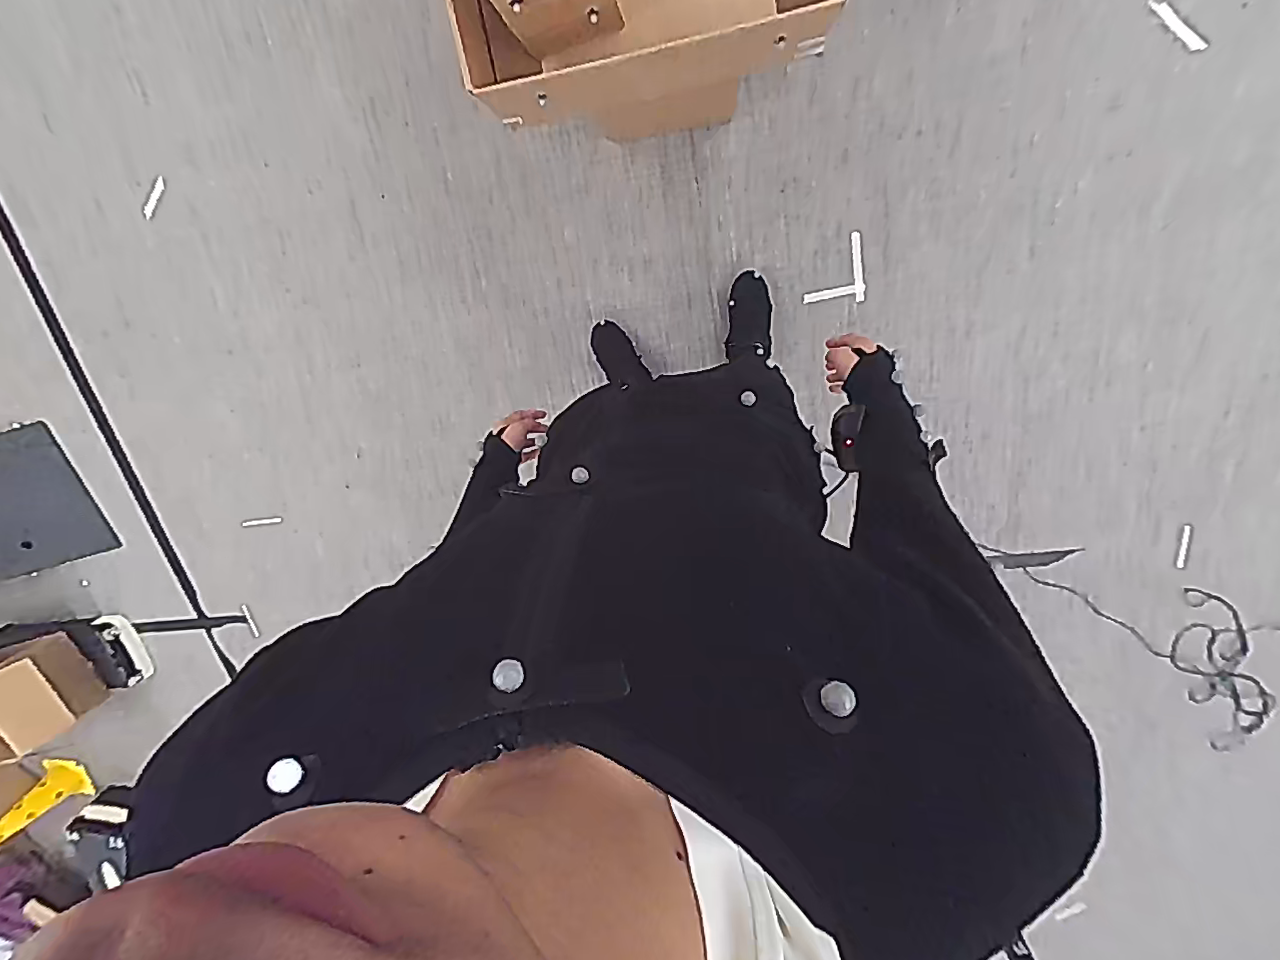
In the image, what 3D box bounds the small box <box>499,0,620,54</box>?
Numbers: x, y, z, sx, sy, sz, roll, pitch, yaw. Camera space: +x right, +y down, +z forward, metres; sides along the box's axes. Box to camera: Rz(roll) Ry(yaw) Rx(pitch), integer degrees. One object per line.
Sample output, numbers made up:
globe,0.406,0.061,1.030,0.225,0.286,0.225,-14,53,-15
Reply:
small box,-0.137,-0.831,0.864,0.179,0.176,0.168,-11,108,12
